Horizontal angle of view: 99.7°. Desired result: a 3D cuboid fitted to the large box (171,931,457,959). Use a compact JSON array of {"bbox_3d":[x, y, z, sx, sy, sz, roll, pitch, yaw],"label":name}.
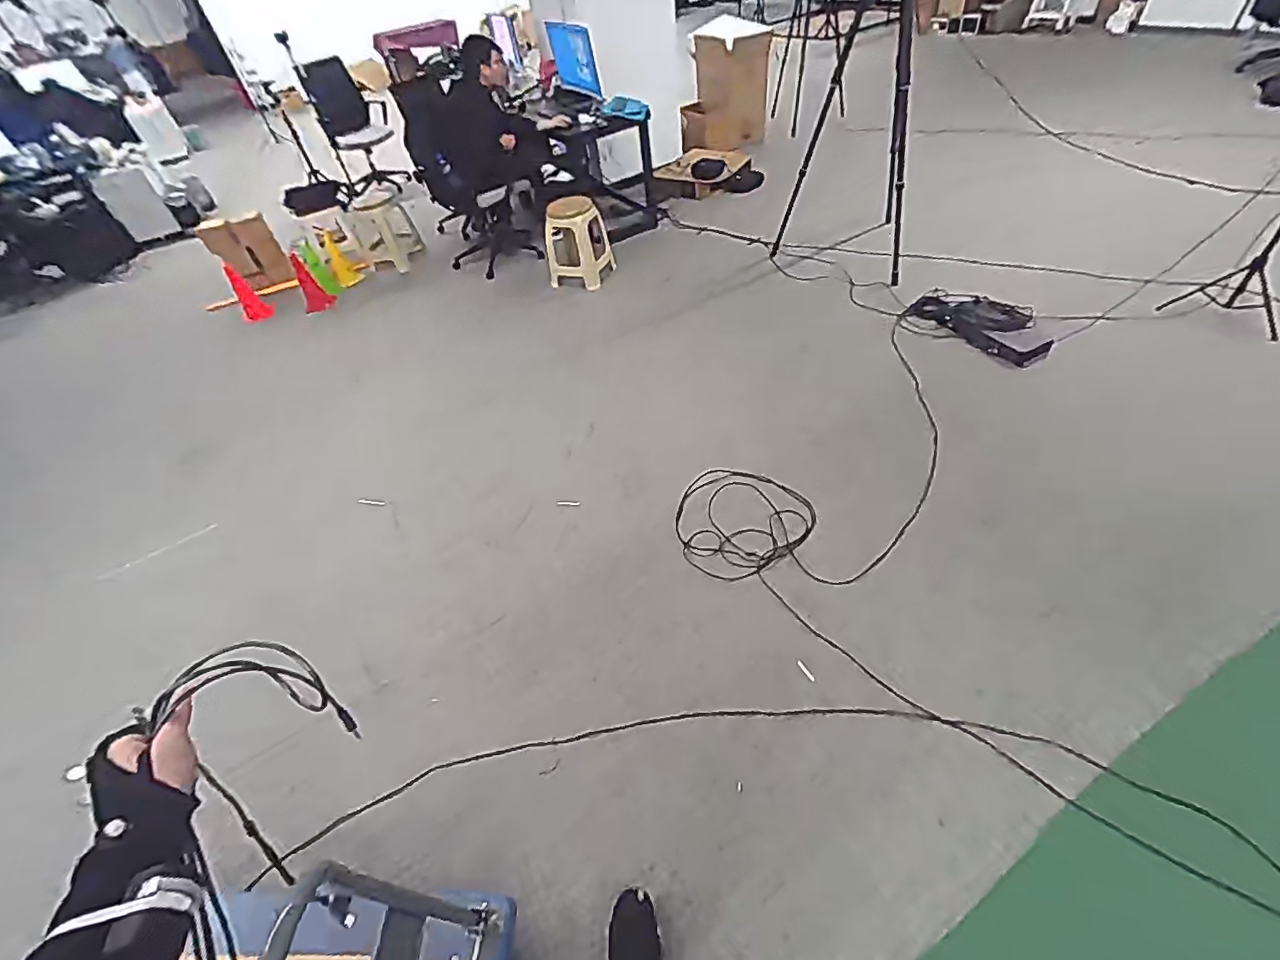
[{"bbox_3d":[-0.592,0.999,0.942,0.408,0.320,0.320,-5,47,6],"label":"large box"}]
